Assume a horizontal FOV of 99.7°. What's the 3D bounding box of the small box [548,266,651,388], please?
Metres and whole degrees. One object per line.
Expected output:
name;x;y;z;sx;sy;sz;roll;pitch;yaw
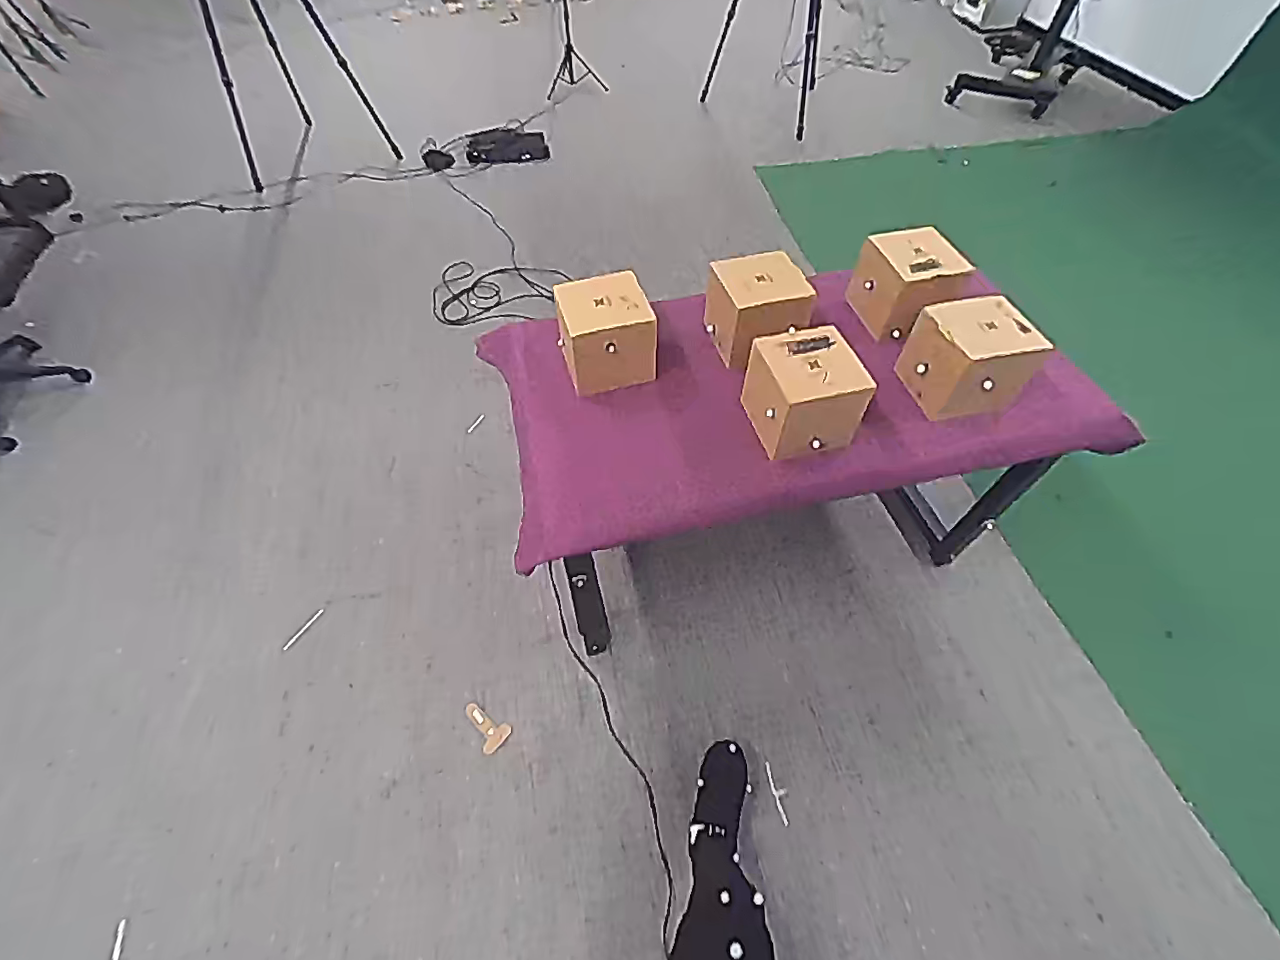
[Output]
small box;-0.080;-0.314;1.129;0.179;0.176;0.168;-14;57;-10

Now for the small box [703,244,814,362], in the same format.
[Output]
small box;0.247;-0.382;1.178;0.179;0.176;0.168;-13;56;-8

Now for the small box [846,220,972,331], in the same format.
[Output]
small box;0.596;-0.455;1.223;0.168;0.176;0.179;-11;54;-7

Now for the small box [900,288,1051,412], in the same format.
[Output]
small box;0.652;-0.254;1.084;0.179;0.176;0.168;-10;55;-6
